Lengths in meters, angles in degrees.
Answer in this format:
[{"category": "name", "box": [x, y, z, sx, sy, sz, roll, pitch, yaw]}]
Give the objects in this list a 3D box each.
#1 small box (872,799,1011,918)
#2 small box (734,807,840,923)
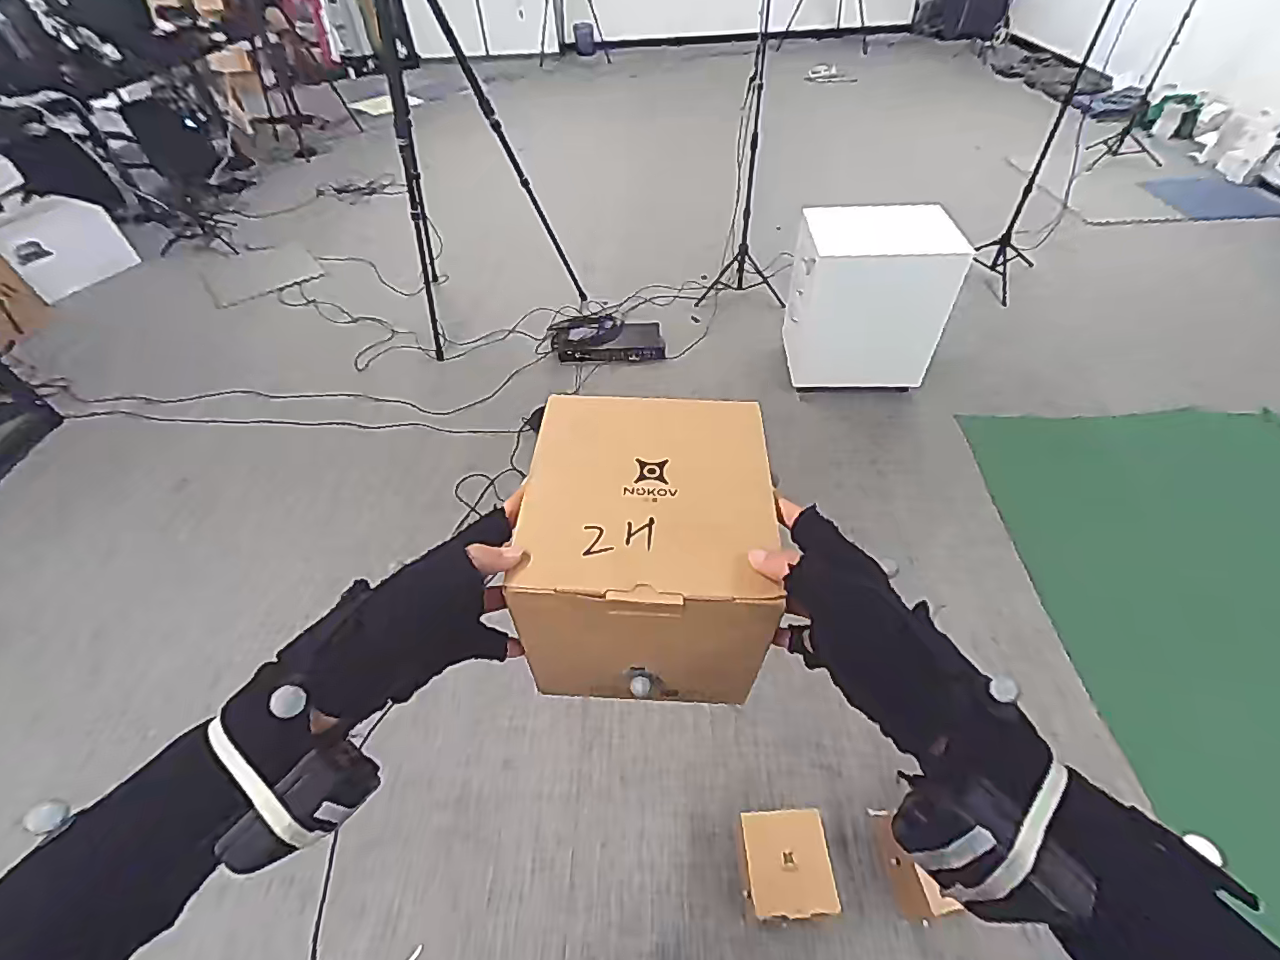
[{"category": "small box", "box": [0.612, 0.790, 1.124, 0.168, 0.176, 0.179, -7, 48, -3]}, {"category": "small box", "box": [0.294, 0.805, 1.128, 0.168, 0.176, 0.179, -4, 49, 0]}]
